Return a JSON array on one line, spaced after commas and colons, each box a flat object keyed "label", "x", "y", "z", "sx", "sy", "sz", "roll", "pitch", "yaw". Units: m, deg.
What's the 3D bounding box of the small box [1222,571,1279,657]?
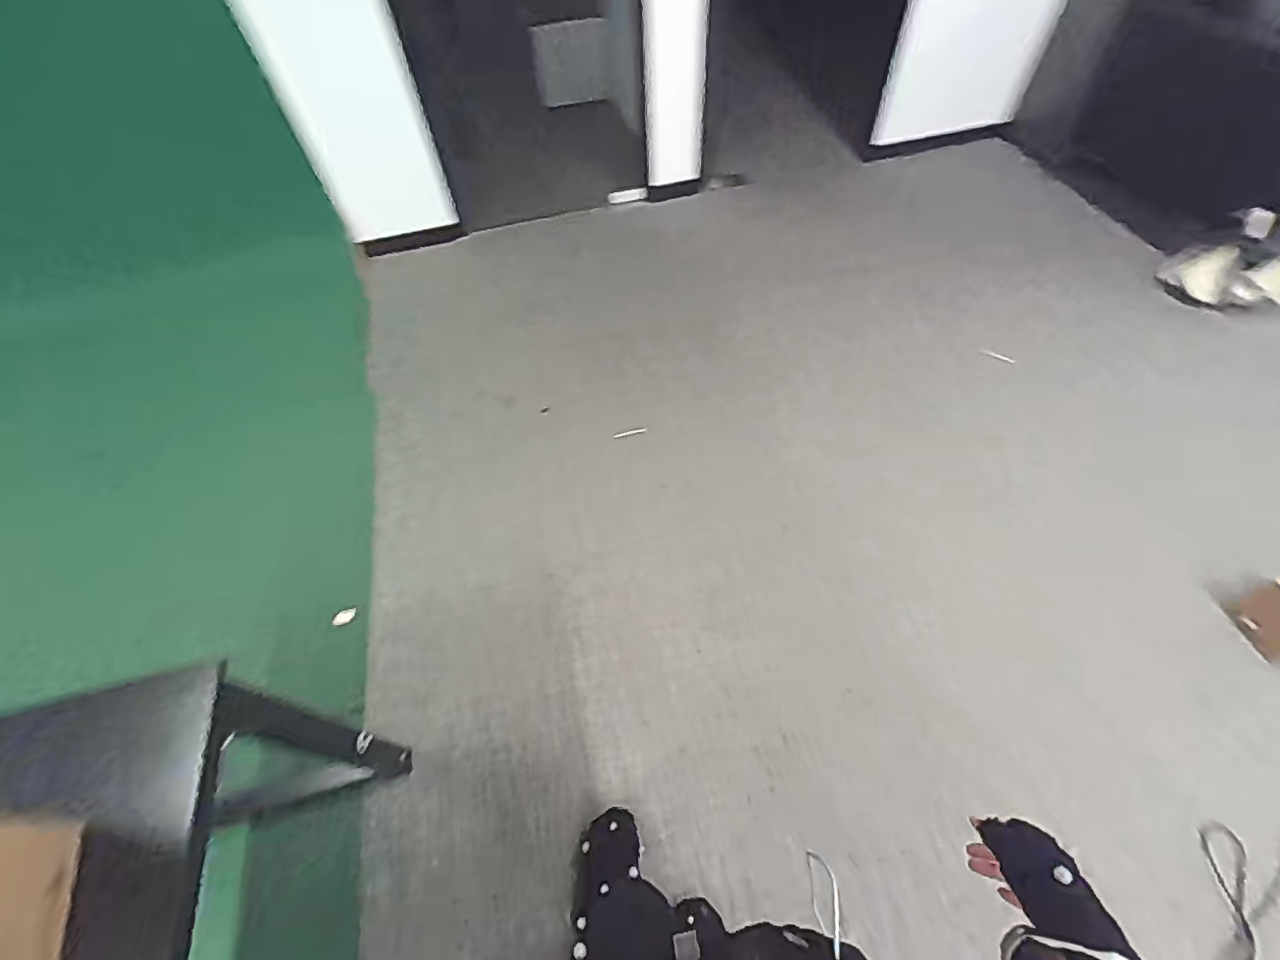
[{"label": "small box", "x": 1.643, "y": 0.326, "z": 1.344, "sx": 0.179, "sy": 0.176, "sz": 0.168, "roll": -9, "pitch": 55, "yaw": -3}]
